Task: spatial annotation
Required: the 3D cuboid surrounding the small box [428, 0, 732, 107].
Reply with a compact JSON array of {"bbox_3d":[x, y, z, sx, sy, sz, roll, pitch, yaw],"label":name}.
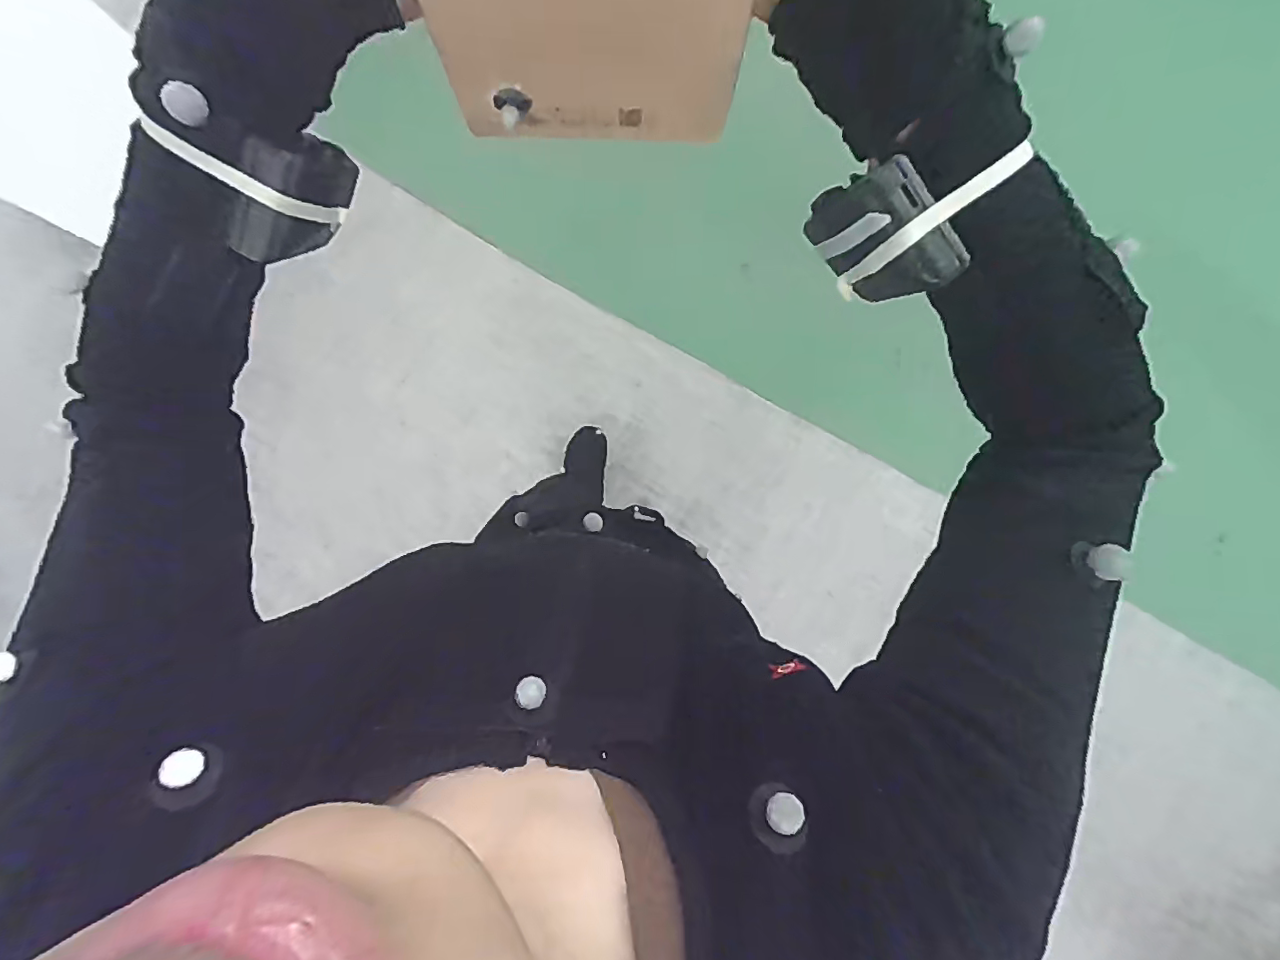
[{"bbox_3d":[-0.031,-0.330,0.277,0.168,0.176,0.179,1,84,0],"label":"small box"}]
